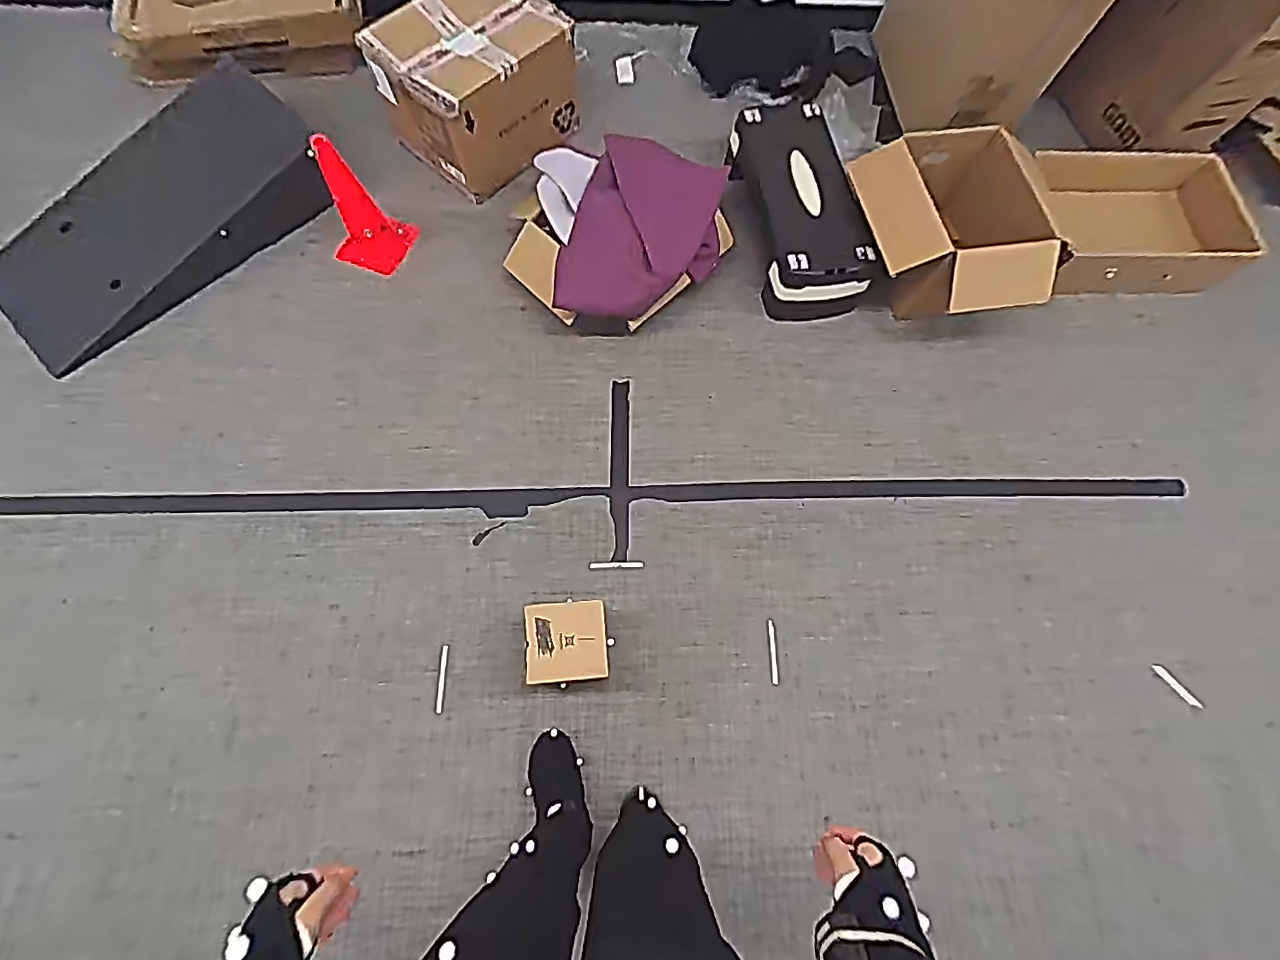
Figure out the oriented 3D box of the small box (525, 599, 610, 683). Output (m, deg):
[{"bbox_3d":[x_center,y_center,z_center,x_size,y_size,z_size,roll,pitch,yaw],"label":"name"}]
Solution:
[{"bbox_3d":[-0.161,0.371,1.236,0.179,0.176,0.168,-4,71,-4],"label":"small box"}]
